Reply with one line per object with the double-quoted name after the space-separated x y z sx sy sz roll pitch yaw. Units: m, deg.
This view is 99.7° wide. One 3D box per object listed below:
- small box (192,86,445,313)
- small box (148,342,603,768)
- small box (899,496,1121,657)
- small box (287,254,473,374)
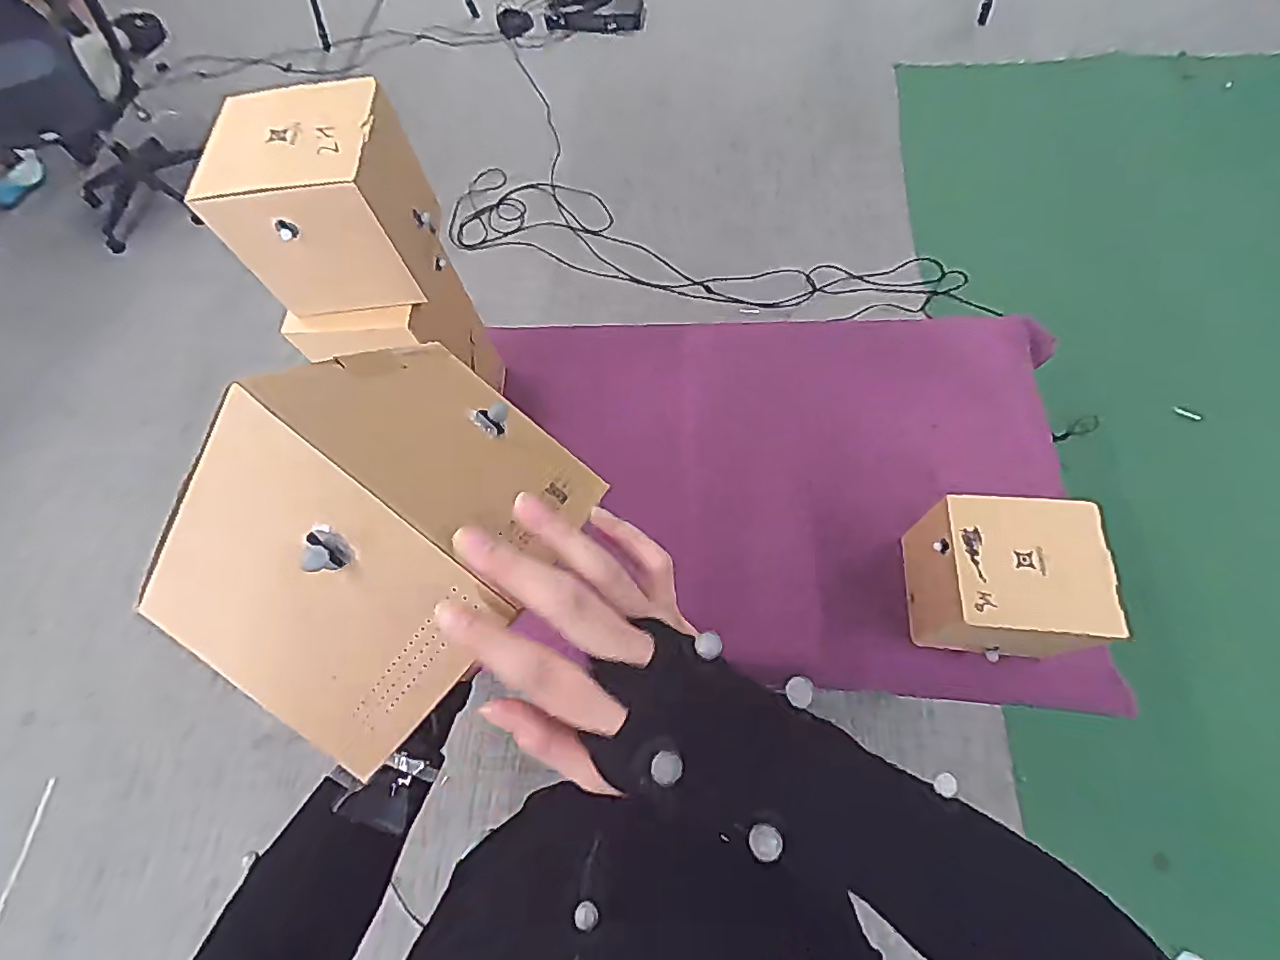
-0.354 -0.315 0.633 0.179 0.176 0.168 -5 66 3 "small box"
-0.150 0.039 0.353 0.176 0.168 0.179 41 113 -3 "small box"
0.468 0.135 0.717 0.179 0.176 0.168 4 65 7 "small box"
-0.353 -0.225 0.773 0.168 0.176 0.179 -2 65 4 "small box"
